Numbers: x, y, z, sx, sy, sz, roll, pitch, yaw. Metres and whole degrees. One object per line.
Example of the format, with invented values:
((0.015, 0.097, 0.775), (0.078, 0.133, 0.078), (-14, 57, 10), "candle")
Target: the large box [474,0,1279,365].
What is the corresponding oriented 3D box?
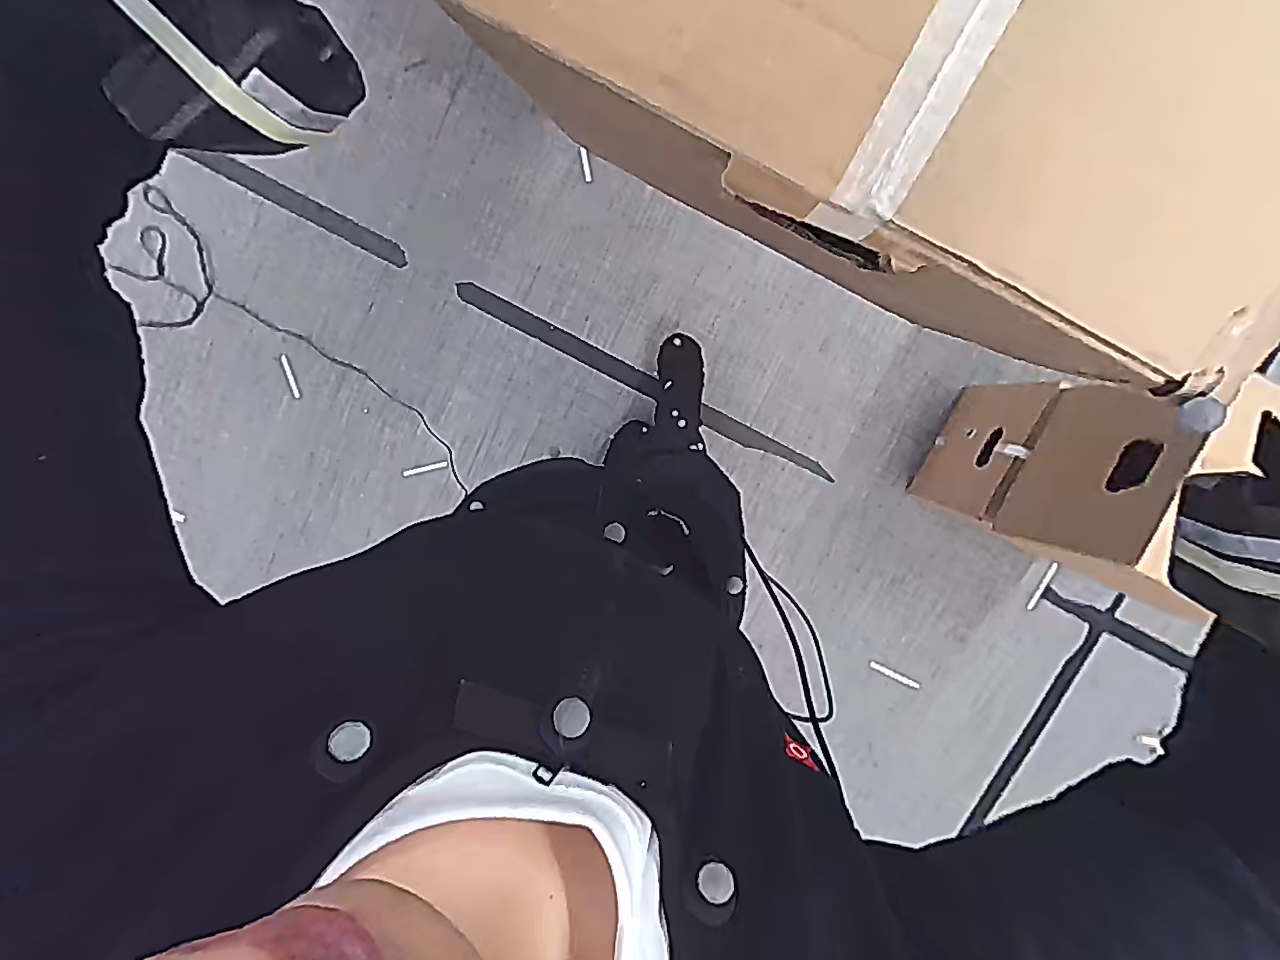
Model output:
((0.161, -0.324, 0.238), (0.320, 0.320, 0.408), (23, 113, -6), "large box")
